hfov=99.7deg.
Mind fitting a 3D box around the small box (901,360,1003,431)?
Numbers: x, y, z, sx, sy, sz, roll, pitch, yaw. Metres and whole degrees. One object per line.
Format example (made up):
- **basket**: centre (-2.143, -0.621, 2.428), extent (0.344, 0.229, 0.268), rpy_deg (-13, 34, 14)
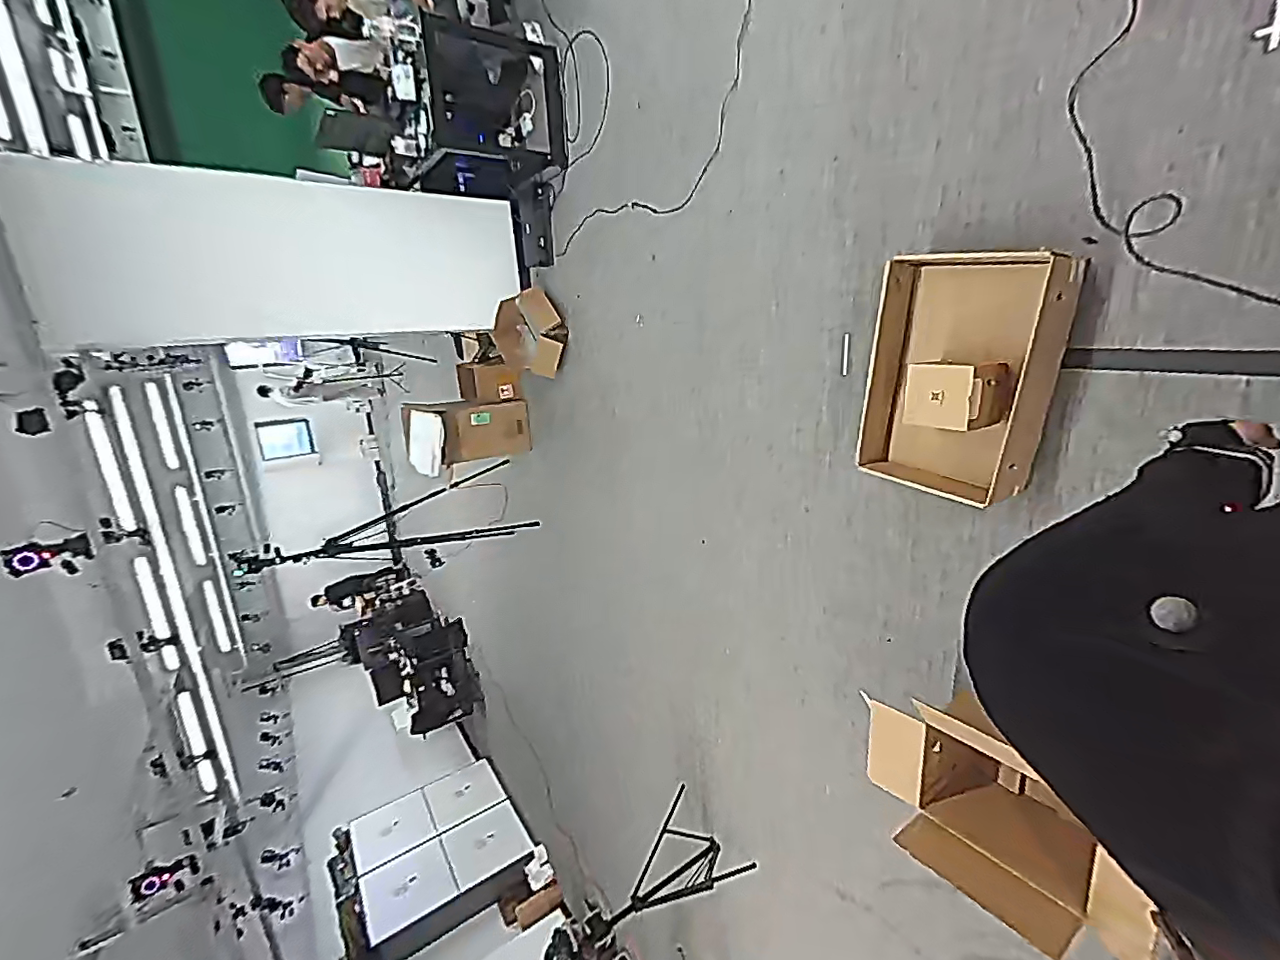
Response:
- **small box**: centre (0.835, -0.234, 1.448), extent (0.179, 0.176, 0.168), rpy_deg (20, 116, 53)
